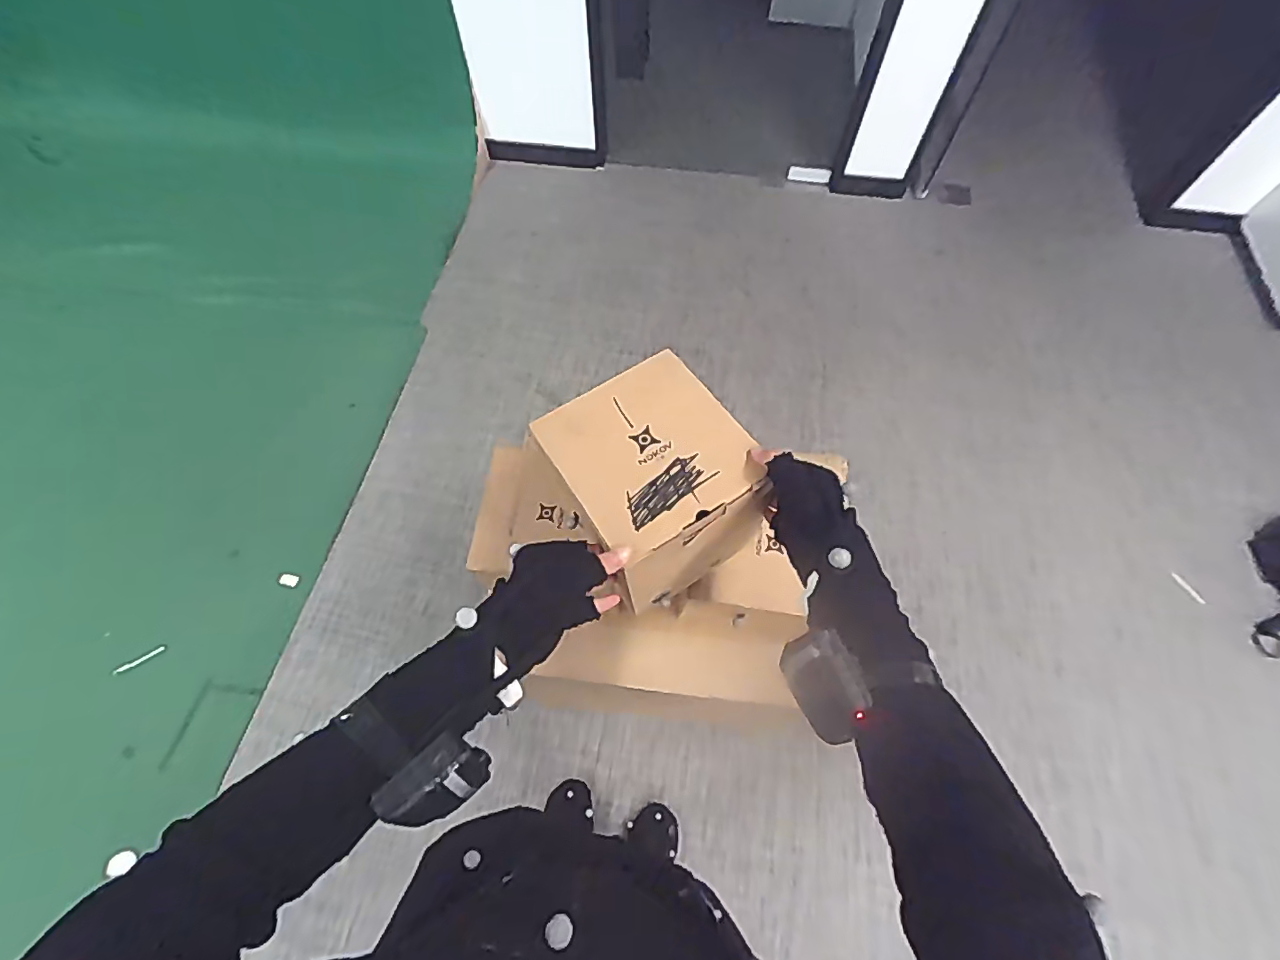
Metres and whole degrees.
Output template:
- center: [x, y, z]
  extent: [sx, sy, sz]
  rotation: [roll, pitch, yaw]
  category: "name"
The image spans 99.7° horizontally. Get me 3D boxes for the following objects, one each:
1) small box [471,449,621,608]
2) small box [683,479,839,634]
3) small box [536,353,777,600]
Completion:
- center: [-0.106, 0.074, 0.743]
  extent: [0.179, 0.176, 0.168]
  rotation: [5, 66, 4]
  category: "small box"
- center: [0.154, 0.105, 0.728]
  extent: [0.179, 0.176, 0.168]
  rotation: [8, 67, 4]
  category: "small box"
- center: [0.017, 0.008, 0.572]
  extent: [0.168, 0.176, 0.179]
  rotation: [-31, 64, -13]
  category: "small box"
